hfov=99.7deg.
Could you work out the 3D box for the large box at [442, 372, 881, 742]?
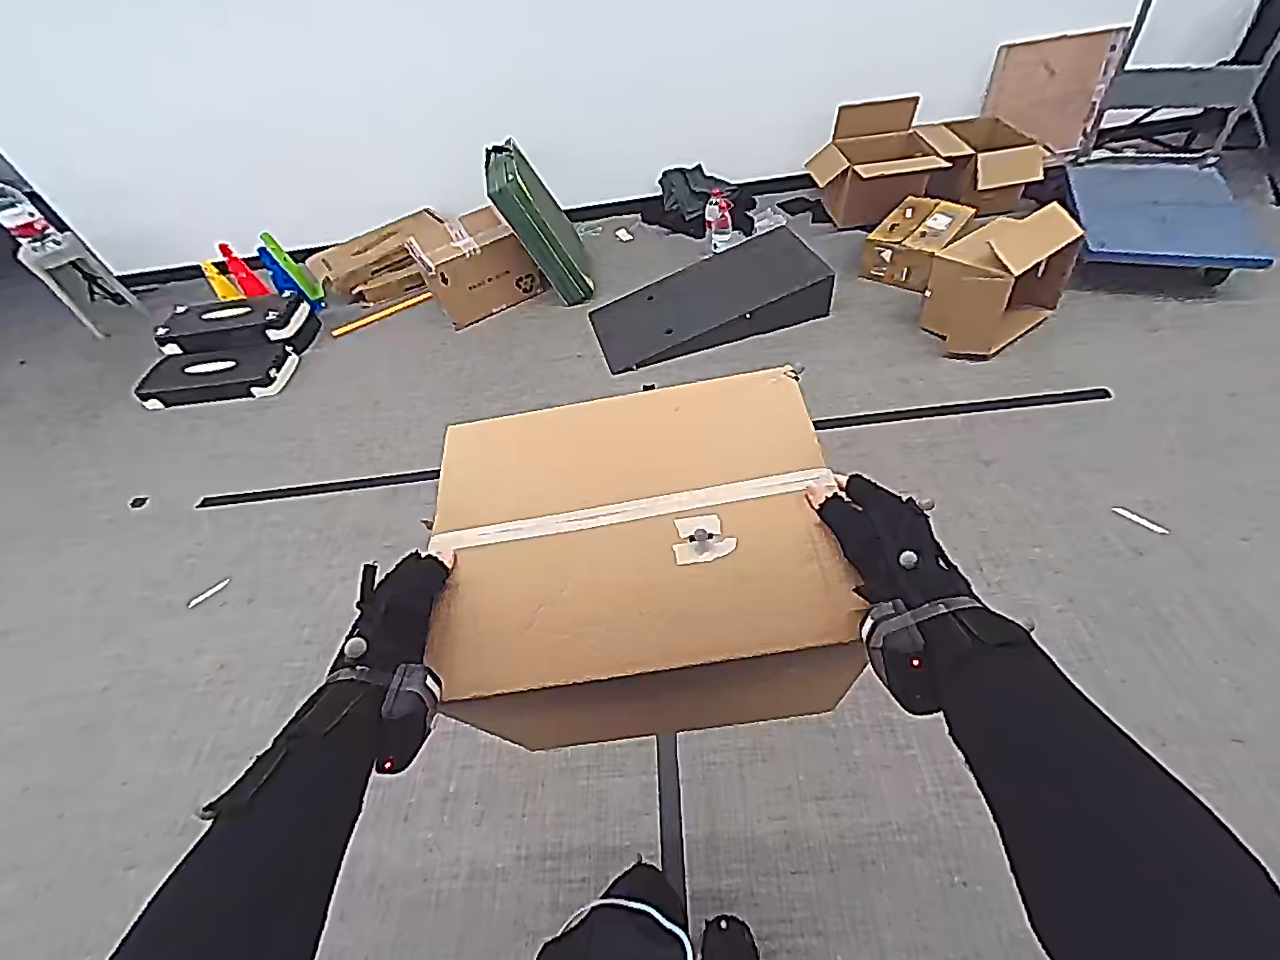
[{"bbox_3d":[0.017,0.113,0.679,0.408,0.320,0.320,-9,57,3],"label":"large box"}]
